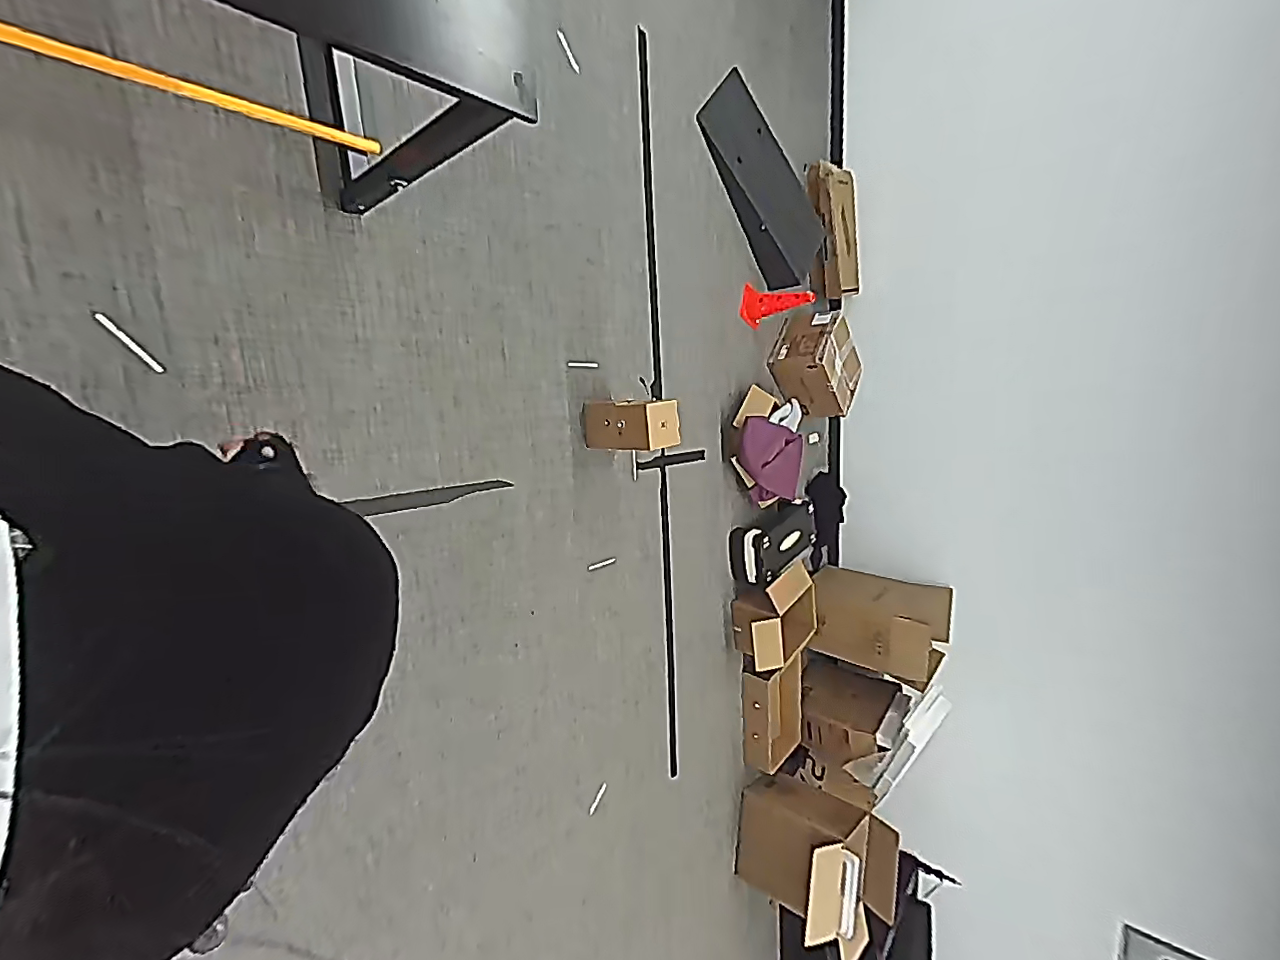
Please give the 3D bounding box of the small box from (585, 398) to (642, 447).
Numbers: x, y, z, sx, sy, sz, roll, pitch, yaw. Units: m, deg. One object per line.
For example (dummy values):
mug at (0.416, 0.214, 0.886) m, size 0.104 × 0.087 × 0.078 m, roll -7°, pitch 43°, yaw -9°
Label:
small box at (-0.099, -0.221, 2.084) m, size 0.168 × 0.176 × 0.179 m, roll -15°, pitch 105°, yaw -47°

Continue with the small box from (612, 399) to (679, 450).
small box at (0.021, -0.206, 1.976) m, size 0.179 × 0.176 × 0.168 m, roll -17°, pitch 105°, yaw -45°
